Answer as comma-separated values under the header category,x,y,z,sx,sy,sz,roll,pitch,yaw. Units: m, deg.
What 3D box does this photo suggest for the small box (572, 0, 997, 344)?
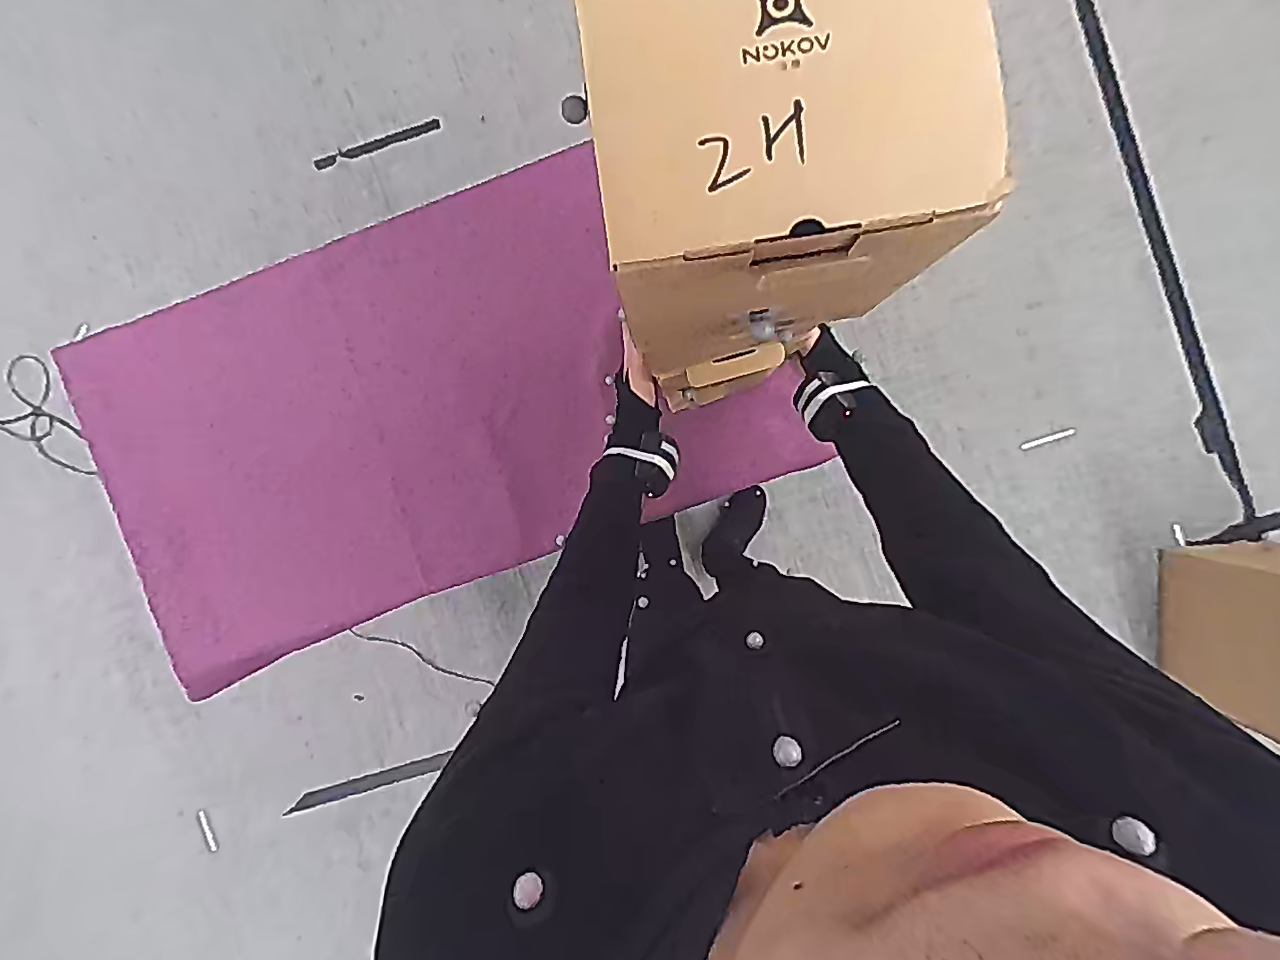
category,x,y,z,sx,sy,sz,roll,pitch,yaw
small box,0.057,-0.189,0.300,0.168,0.176,0.179,-7,92,4

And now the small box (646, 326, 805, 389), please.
category,x,y,z,sx,sy,sz,roll,pitch,yaw
small box,0.075,-0.211,0.626,0.168,0.176,0.179,-15,90,4
